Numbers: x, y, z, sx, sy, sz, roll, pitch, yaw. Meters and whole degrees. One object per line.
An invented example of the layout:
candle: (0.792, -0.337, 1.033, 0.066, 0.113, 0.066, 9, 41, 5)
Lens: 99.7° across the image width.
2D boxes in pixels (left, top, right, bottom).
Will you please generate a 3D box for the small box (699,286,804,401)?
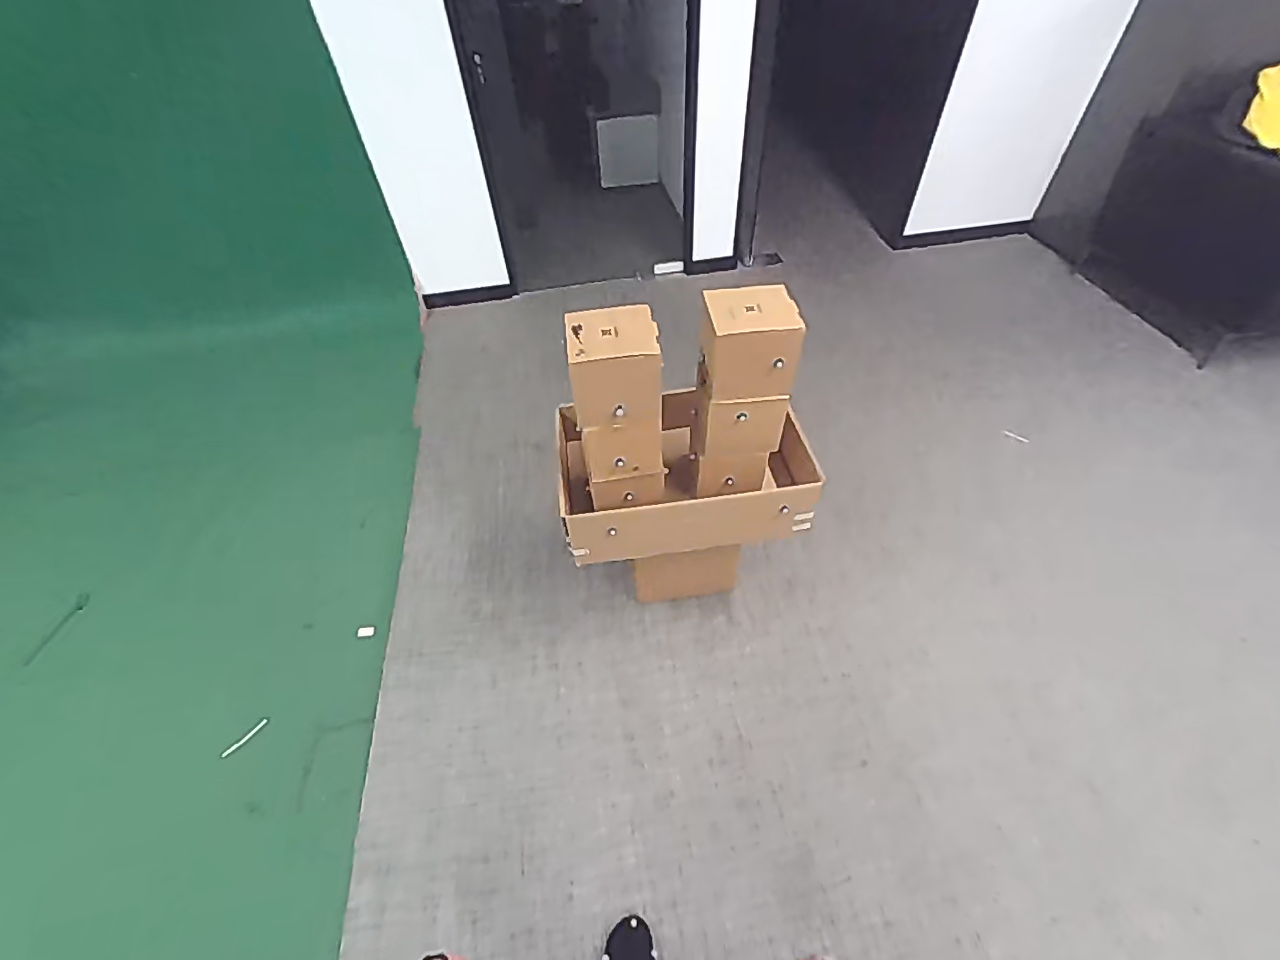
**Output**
small box: (0.225, -0.284, 1.140, 0.179, 0.176, 0.168, -6, 48, -1)

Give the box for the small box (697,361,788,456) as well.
small box: (0.227, -0.169, 1.256, 0.179, 0.176, 0.168, -5, 49, -2)

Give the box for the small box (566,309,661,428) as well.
small box: (-0.054, -0.226, 1.106, 0.179, 0.176, 0.168, -6, 48, -3)

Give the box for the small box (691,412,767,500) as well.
small box: (0.220, -0.061, 1.380, 0.168, 0.176, 0.179, -4, 49, 0)
